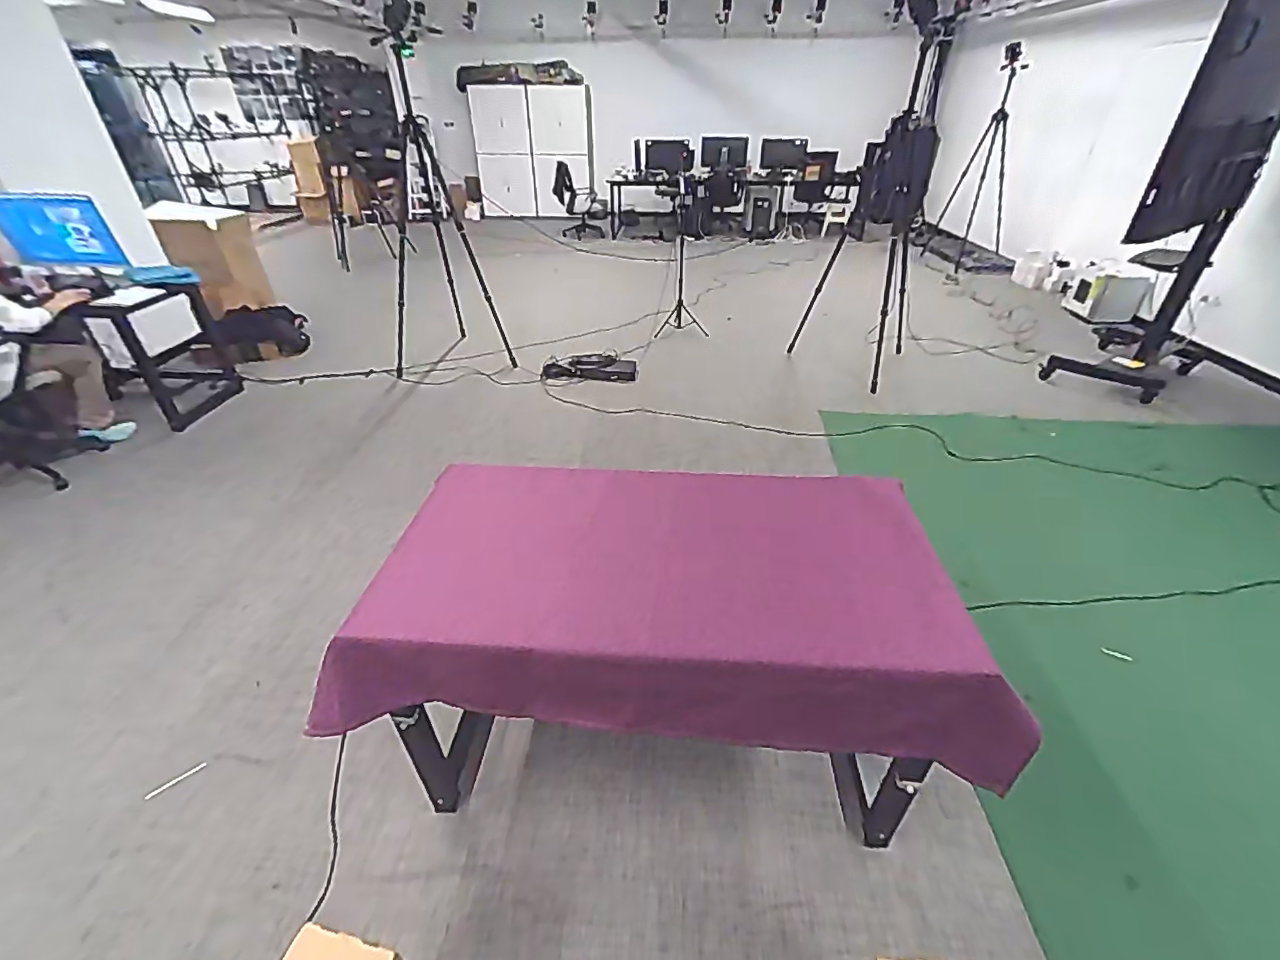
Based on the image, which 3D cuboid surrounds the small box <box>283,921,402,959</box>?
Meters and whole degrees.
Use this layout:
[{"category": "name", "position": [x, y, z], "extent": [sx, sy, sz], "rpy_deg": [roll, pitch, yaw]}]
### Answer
[{"category": "small box", "position": [-0.470, 0.822, 0.815], "extent": [0.168, 0.176, 0.179], "rpy_deg": [7, 34, 12]}]
